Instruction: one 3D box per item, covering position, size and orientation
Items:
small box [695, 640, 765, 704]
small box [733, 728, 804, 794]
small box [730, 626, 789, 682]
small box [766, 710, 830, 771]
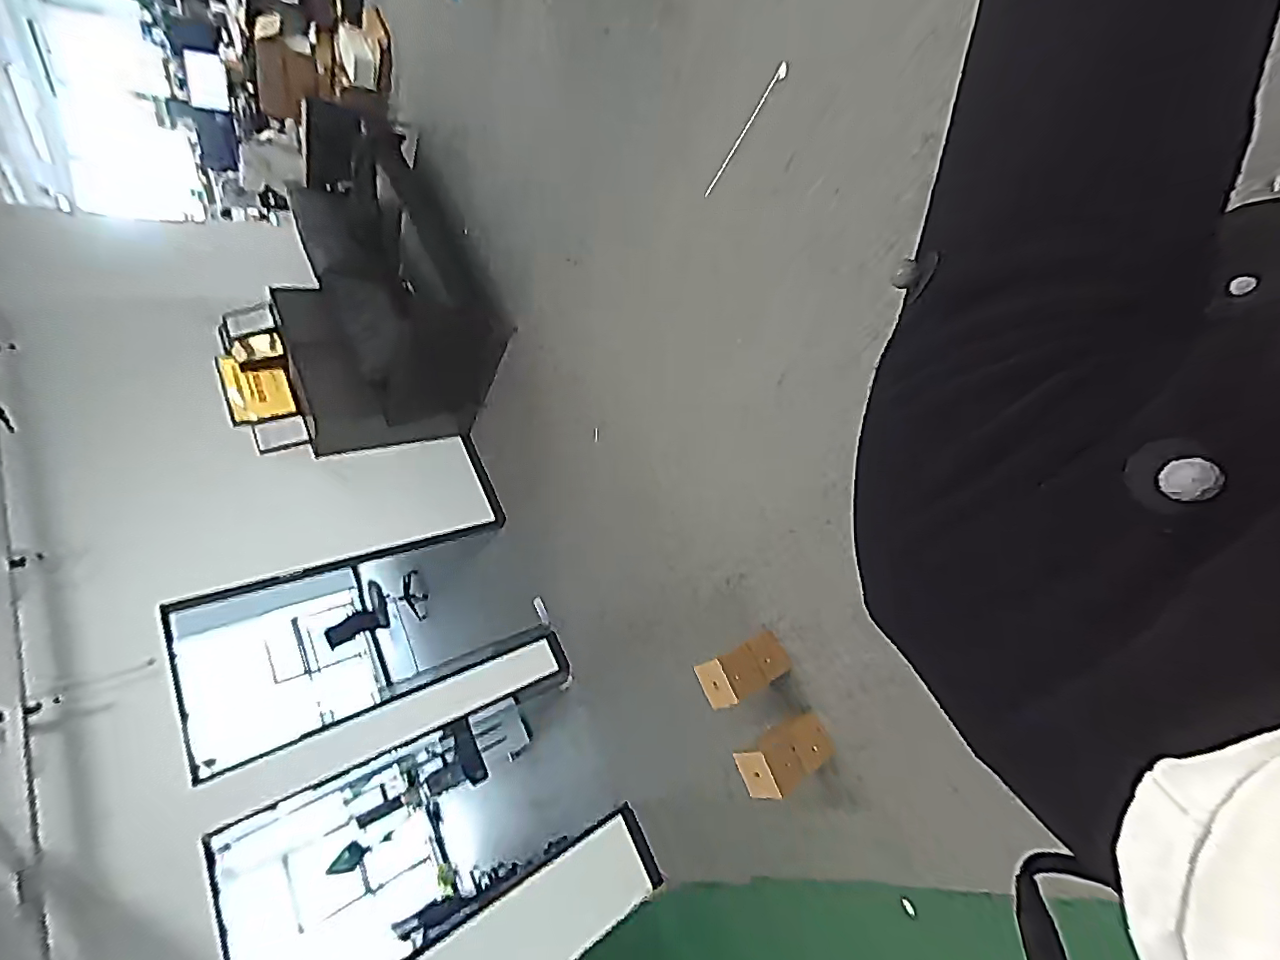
[{"bbox_3d":[0.356,0.752,2.120,0.168,0.176,0.179,-43,66,49],"label":"small box"},{"bbox_3d":[0.491,1.054,2.037,0.179,0.176,0.168,-40,68,50],"label":"small box"},{"bbox_3d":[0.479,0.727,2.226,0.168,0.176,0.179,-45,66,48],"label":"small box"},{"bbox_3d":[0.622,1.027,2.134,0.179,0.176,0.168,-43,67,50],"label":"small box"}]
